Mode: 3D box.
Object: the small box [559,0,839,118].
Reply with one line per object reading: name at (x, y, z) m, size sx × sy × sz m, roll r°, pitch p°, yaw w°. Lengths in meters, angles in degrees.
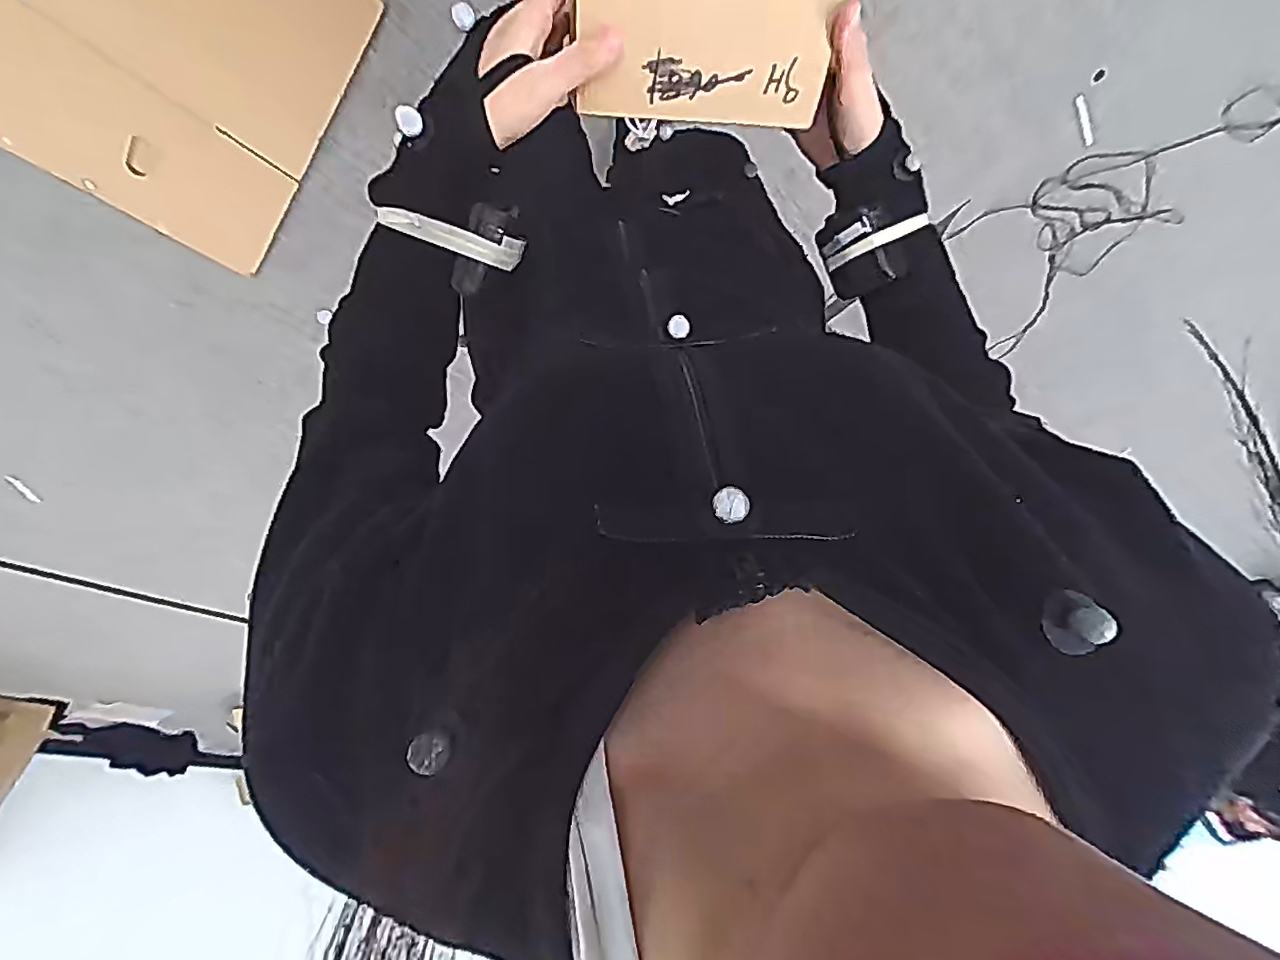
small box at (0.032, -0.365, 0.360) m, size 0.168 × 0.176 × 0.179 m, roll -2°, pitch 133°, yaw -9°
